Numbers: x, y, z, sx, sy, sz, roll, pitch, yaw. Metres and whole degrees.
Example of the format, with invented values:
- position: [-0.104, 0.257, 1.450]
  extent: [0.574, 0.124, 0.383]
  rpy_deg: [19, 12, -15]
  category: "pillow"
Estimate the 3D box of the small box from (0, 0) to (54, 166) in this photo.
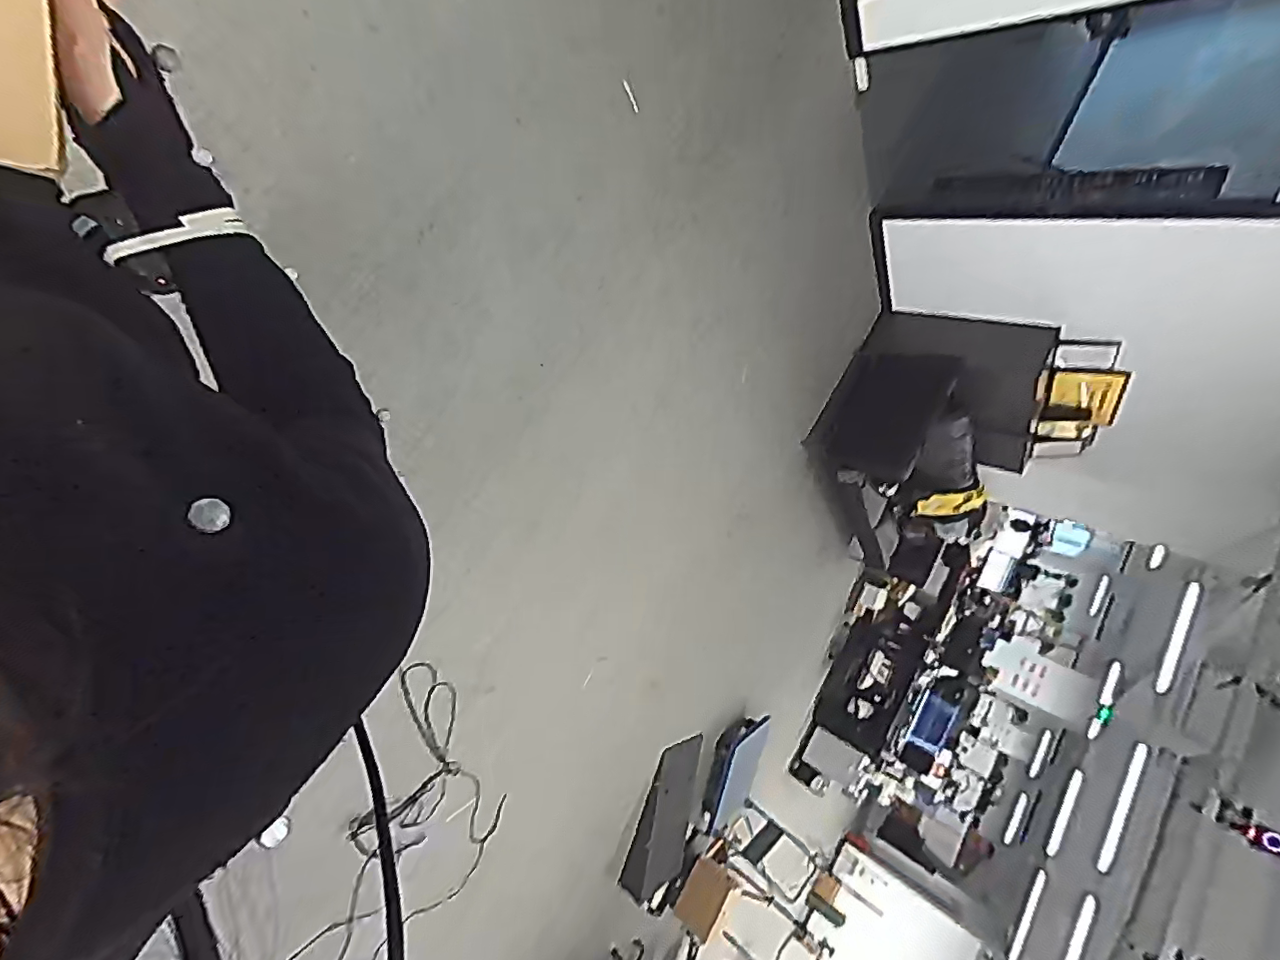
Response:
- position: [-0.404, -0.277, 0.255]
  extent: [0.168, 0.176, 0.179]
  rpy_deg: [-4, 119, -44]
  category: "small box"
